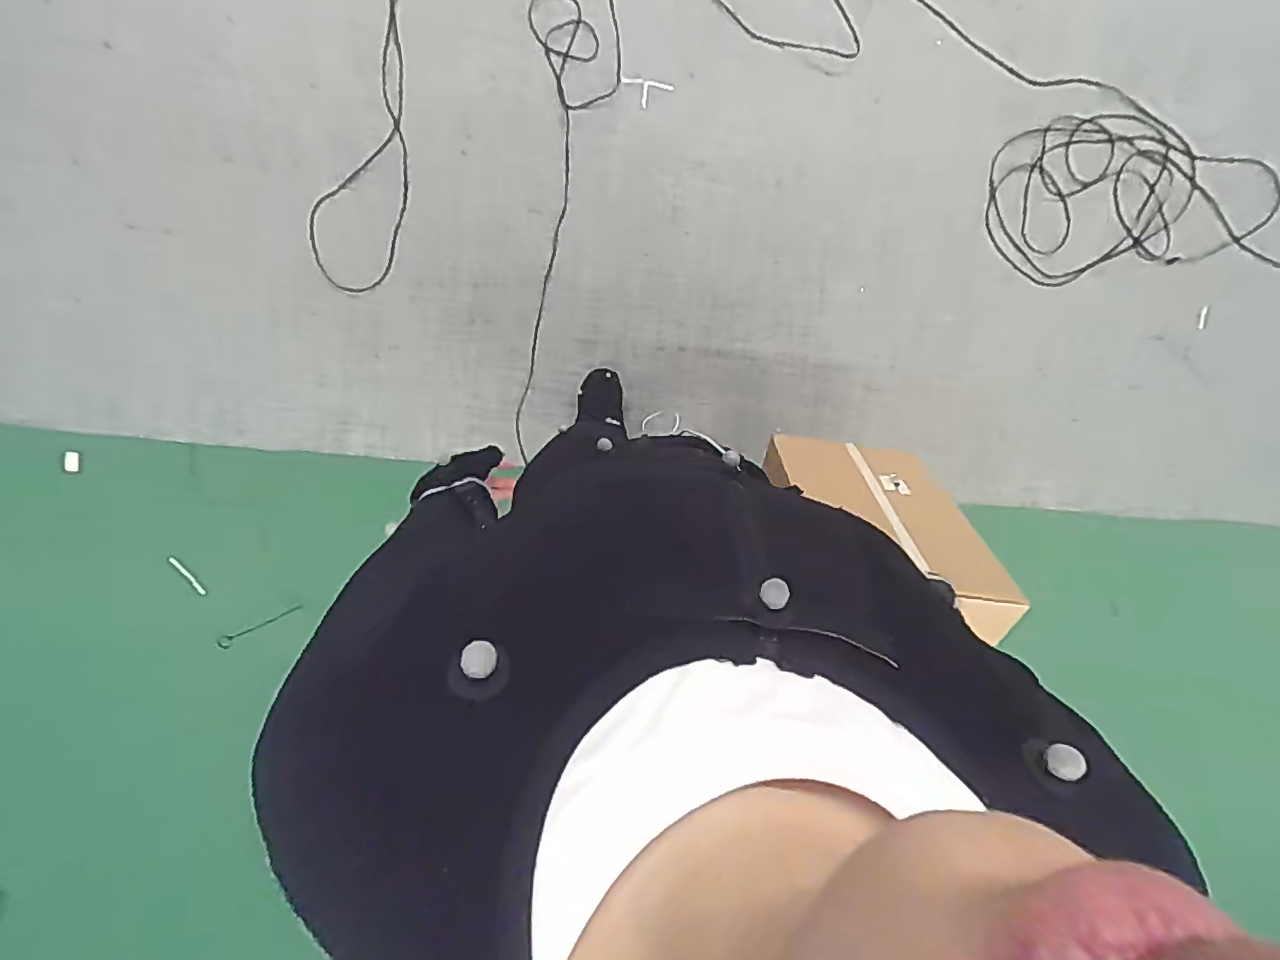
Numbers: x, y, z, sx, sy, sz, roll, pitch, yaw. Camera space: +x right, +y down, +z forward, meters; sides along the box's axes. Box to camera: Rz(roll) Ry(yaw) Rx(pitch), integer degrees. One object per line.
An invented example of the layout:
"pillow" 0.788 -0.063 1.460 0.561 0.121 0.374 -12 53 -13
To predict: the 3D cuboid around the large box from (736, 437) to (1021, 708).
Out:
"large box" 0.394 0.166 1.030 0.320 0.408 0.320 8 125 -6
